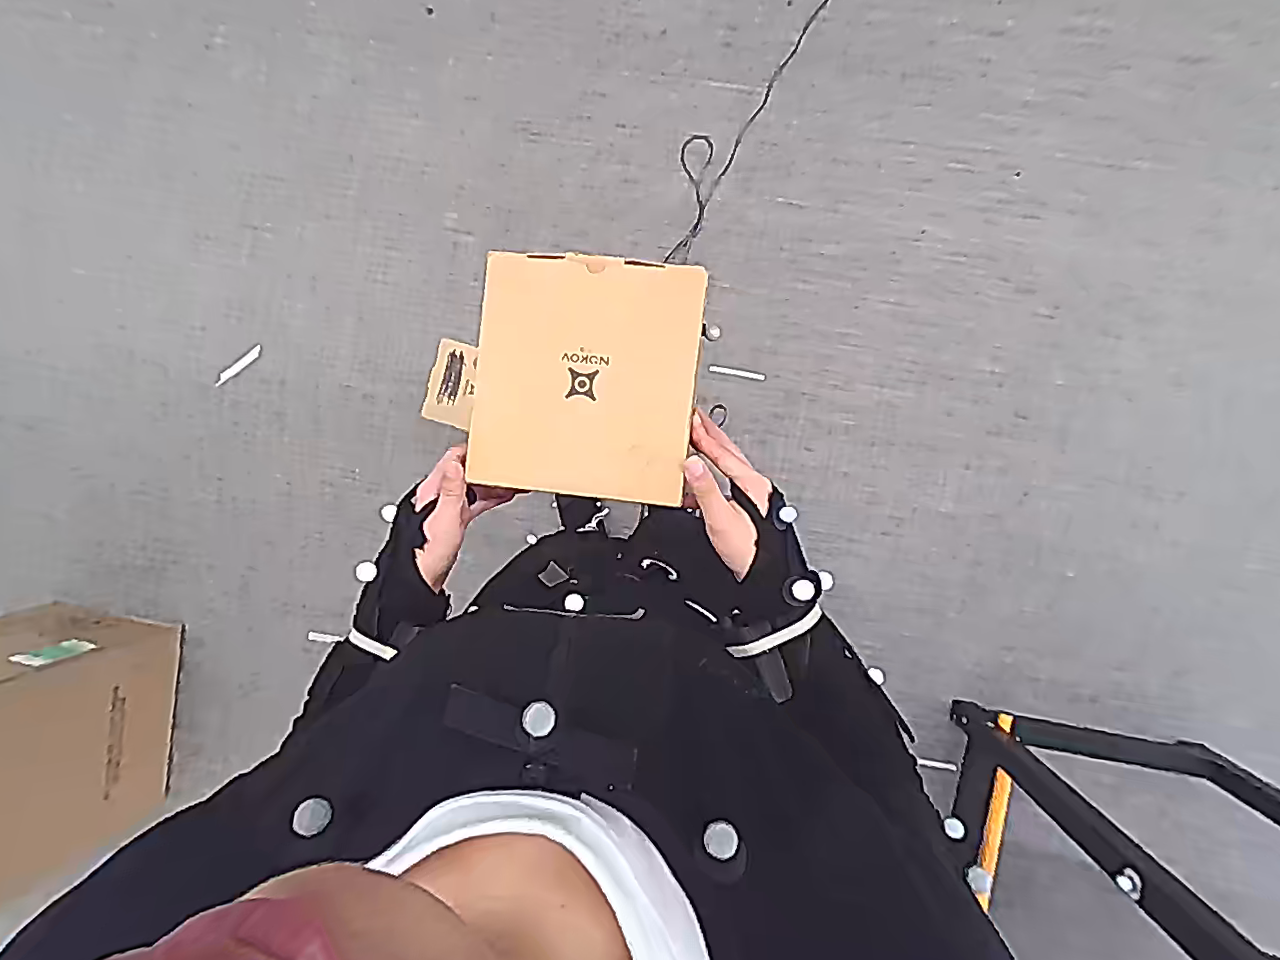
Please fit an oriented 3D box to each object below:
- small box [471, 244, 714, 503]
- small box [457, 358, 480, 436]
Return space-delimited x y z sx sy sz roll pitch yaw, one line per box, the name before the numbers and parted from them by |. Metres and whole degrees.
small box | -0.028 -0.079 0.467 0.168 0.176 0.179 6 90 5
small box | -0.307 -0.174 1.296 0.168 0.176 0.179 18 95 5
